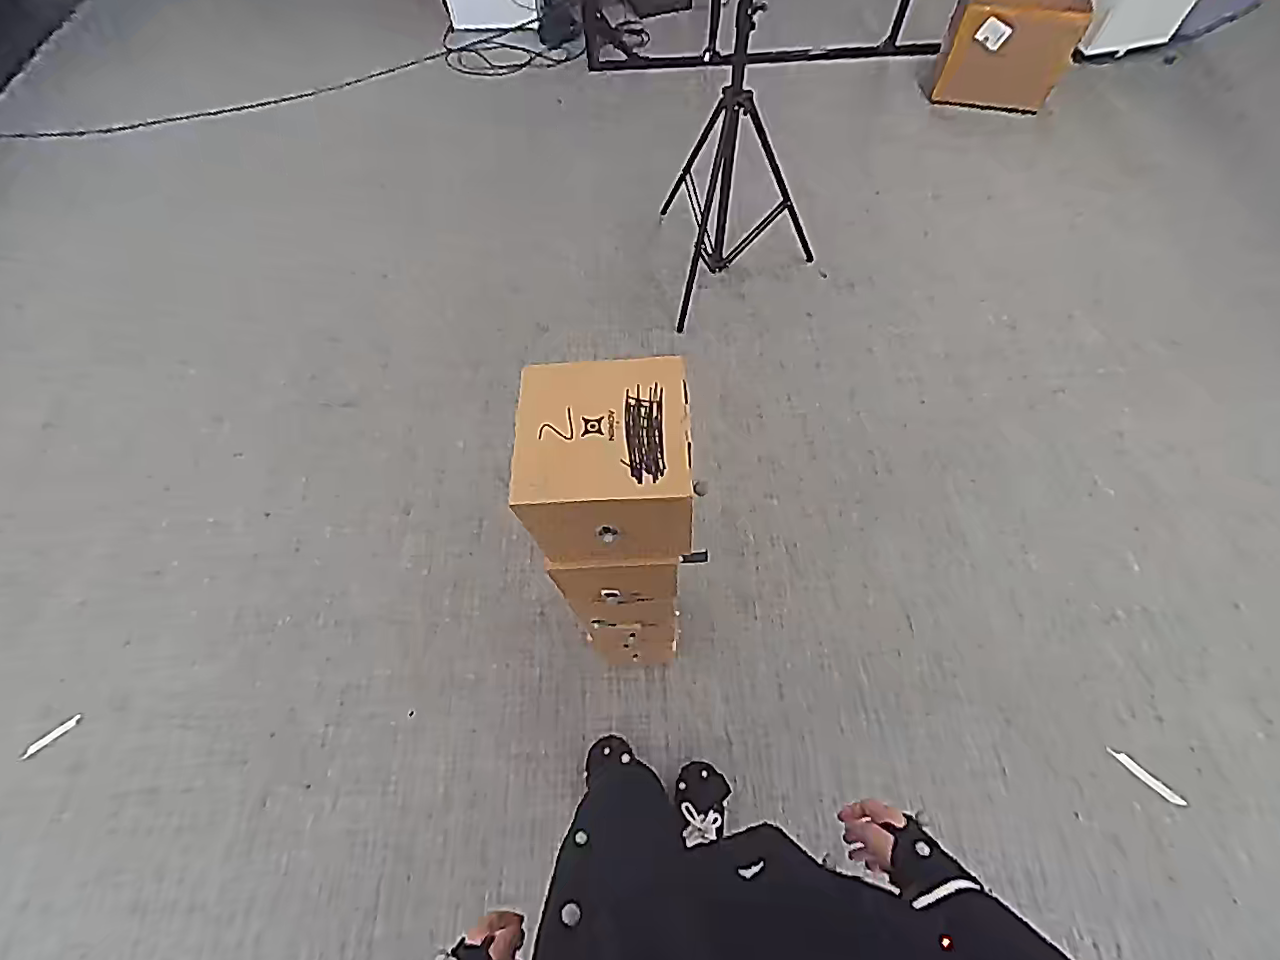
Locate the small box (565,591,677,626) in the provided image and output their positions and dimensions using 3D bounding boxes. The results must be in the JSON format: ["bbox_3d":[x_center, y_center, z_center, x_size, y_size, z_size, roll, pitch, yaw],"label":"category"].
[{"bbox_3d":[-0.023,0.141,0.894,0.168,0.176,0.179,-1,63,3],"label":"small box"}]

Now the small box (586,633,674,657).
[{"bbox_3d":[-0.014,0.292,1.185,0.179,0.176,0.168,0,64,3],"label":"small box"}]

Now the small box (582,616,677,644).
[{"bbox_3d":[-0.012,0.216,1.040,0.168,0.176,0.179,0,64,3],"label":"small box"}]

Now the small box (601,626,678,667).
[{"bbox_3d":[0.001,0.363,1.332,0.179,0.176,0.168,-2,63,2],"label":"small box"}]

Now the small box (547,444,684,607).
[{"bbox_3d":[-0.027,0.068,0.750,0.168,0.176,0.179,-3,64,3],"label":"small box"}]
